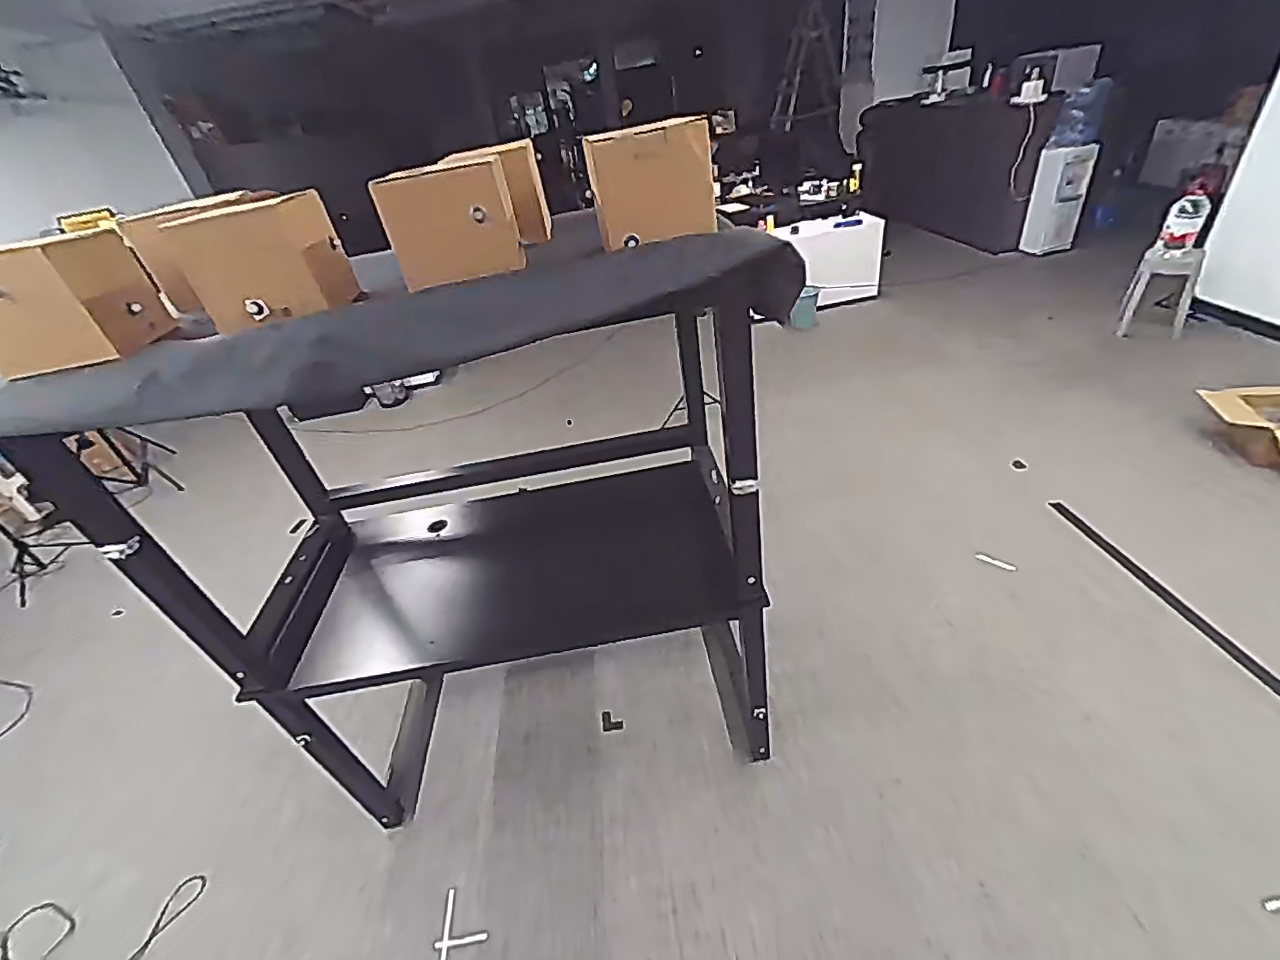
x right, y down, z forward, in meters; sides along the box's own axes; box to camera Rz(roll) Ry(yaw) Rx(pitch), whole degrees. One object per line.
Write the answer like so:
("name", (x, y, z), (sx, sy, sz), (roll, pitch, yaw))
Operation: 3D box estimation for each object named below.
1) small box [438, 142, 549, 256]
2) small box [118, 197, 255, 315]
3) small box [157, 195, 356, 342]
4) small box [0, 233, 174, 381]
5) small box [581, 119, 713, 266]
("small box", (-0.284, -0.563, 1.090), (0.168, 0.176, 0.179), (-12, 36, -1))
("small box", (-0.850, -0.447, 1.079), (0.179, 0.176, 0.168), (-11, 36, -2))
("small box", (-0.576, -0.332, 0.846), (0.168, 0.176, 0.179), (-14, 34, -3))
("small box", (-0.902, -0.269, 0.842), (0.179, 0.176, 0.168), (-12, 35, -3))
("small box", (0.010, -0.445, 0.843), (0.168, 0.176, 0.179), (-13, 34, -2))
